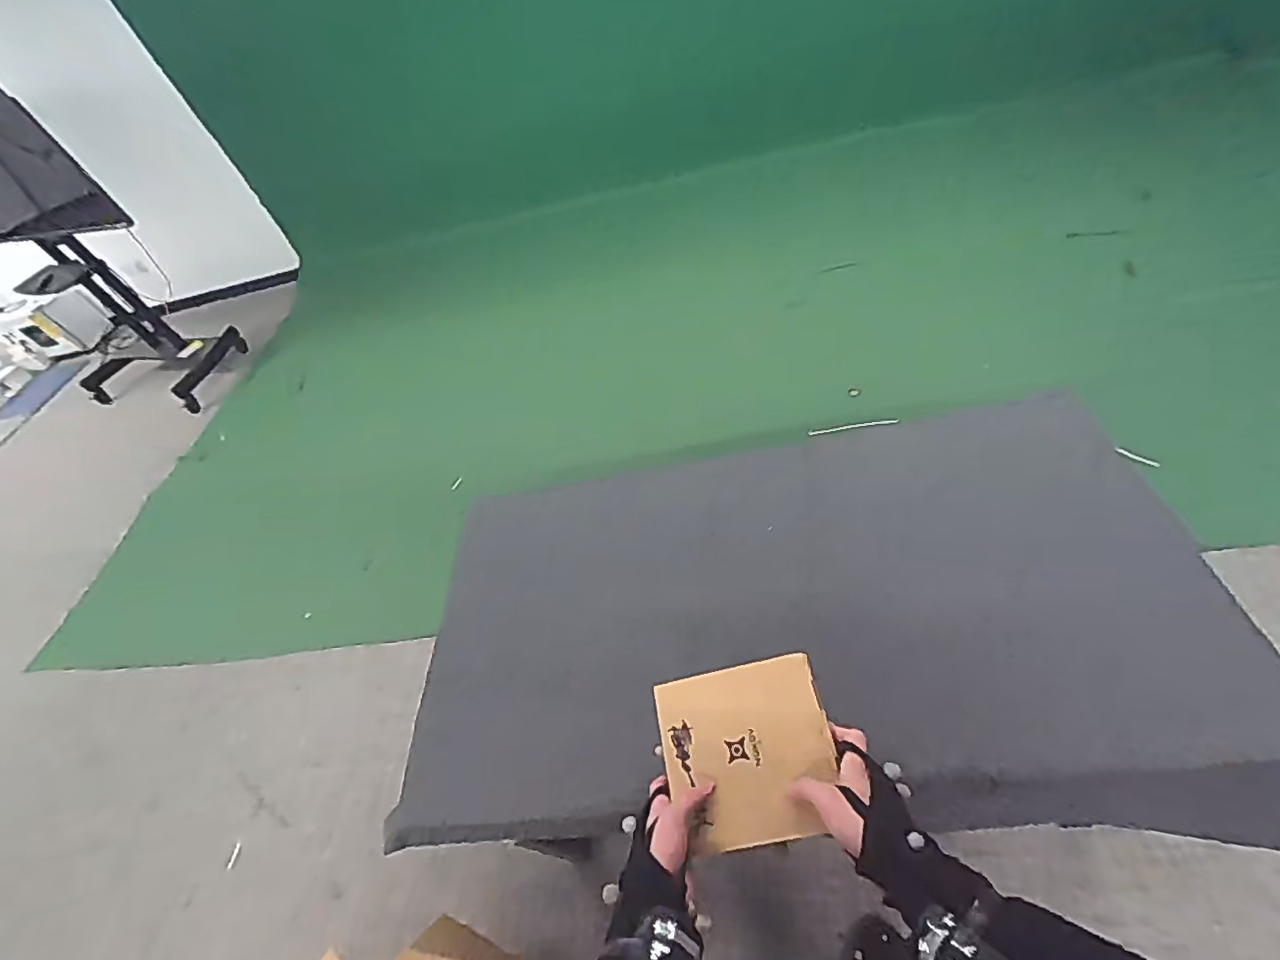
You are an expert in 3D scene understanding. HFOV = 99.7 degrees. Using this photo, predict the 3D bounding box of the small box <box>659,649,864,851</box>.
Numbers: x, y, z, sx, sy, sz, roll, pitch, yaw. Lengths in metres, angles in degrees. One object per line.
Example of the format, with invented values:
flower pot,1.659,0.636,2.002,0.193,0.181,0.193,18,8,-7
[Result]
small box,0.135,0.309,0.618,0.179,0.176,0.168,-16,56,9
